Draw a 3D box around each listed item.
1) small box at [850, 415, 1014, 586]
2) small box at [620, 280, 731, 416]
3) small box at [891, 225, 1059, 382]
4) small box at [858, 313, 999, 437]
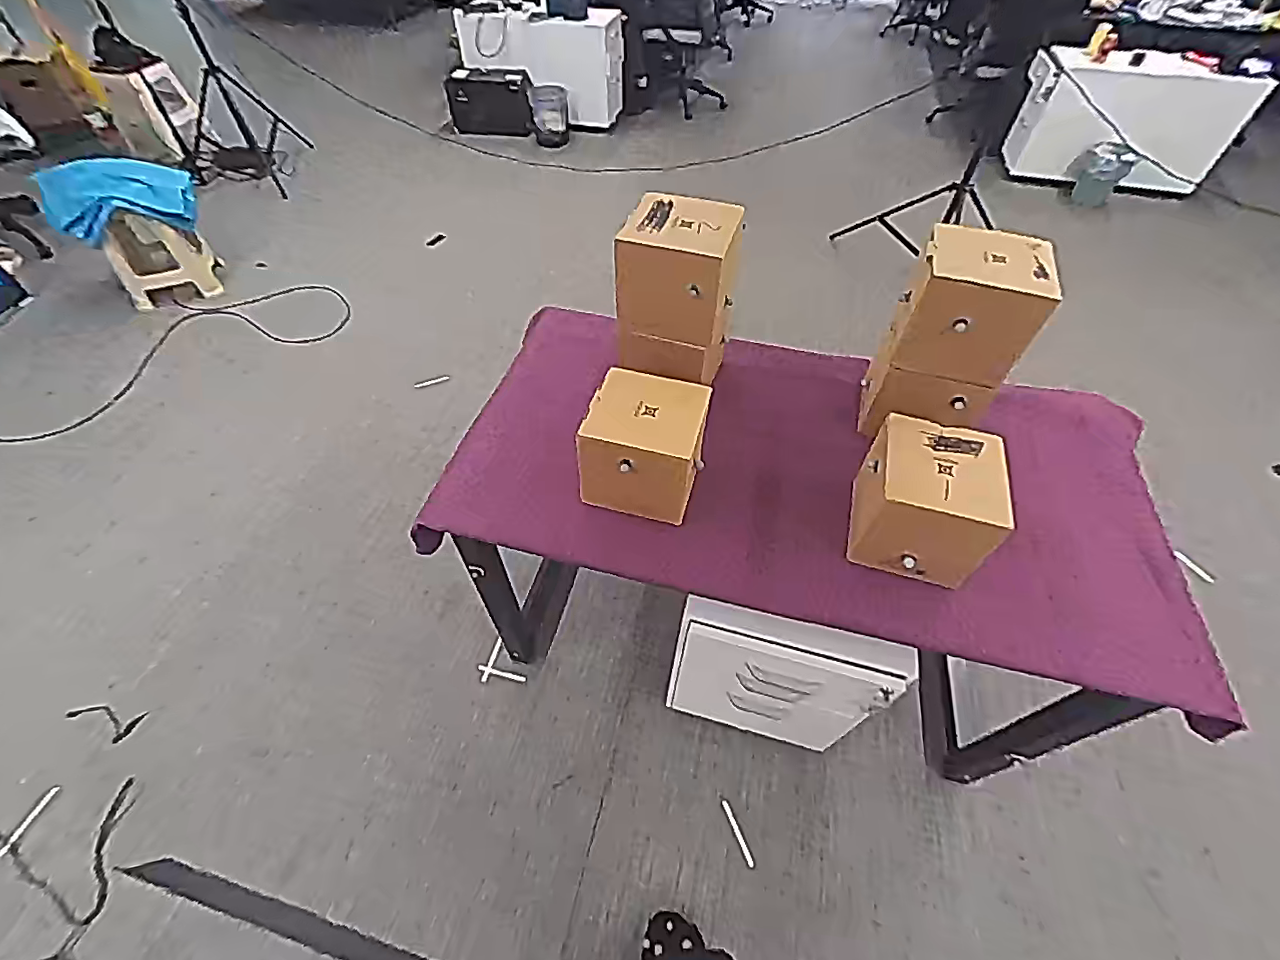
[{"bbox_3d":[0.433,0.032,0.829,0.168,0.176,0.179,14,52,11],"label":"small box"},{"bbox_3d":[0.069,-0.257,1.058,0.168,0.176,0.179,16,55,13],"label":"small box"},{"bbox_3d":[0.523,-0.280,0.869,0.179,0.176,0.168,15,54,12],"label":"small box"},{"bbox_3d":[0.523,-0.178,0.997,0.179,0.176,0.168,14,53,11],"label":"small box"}]
